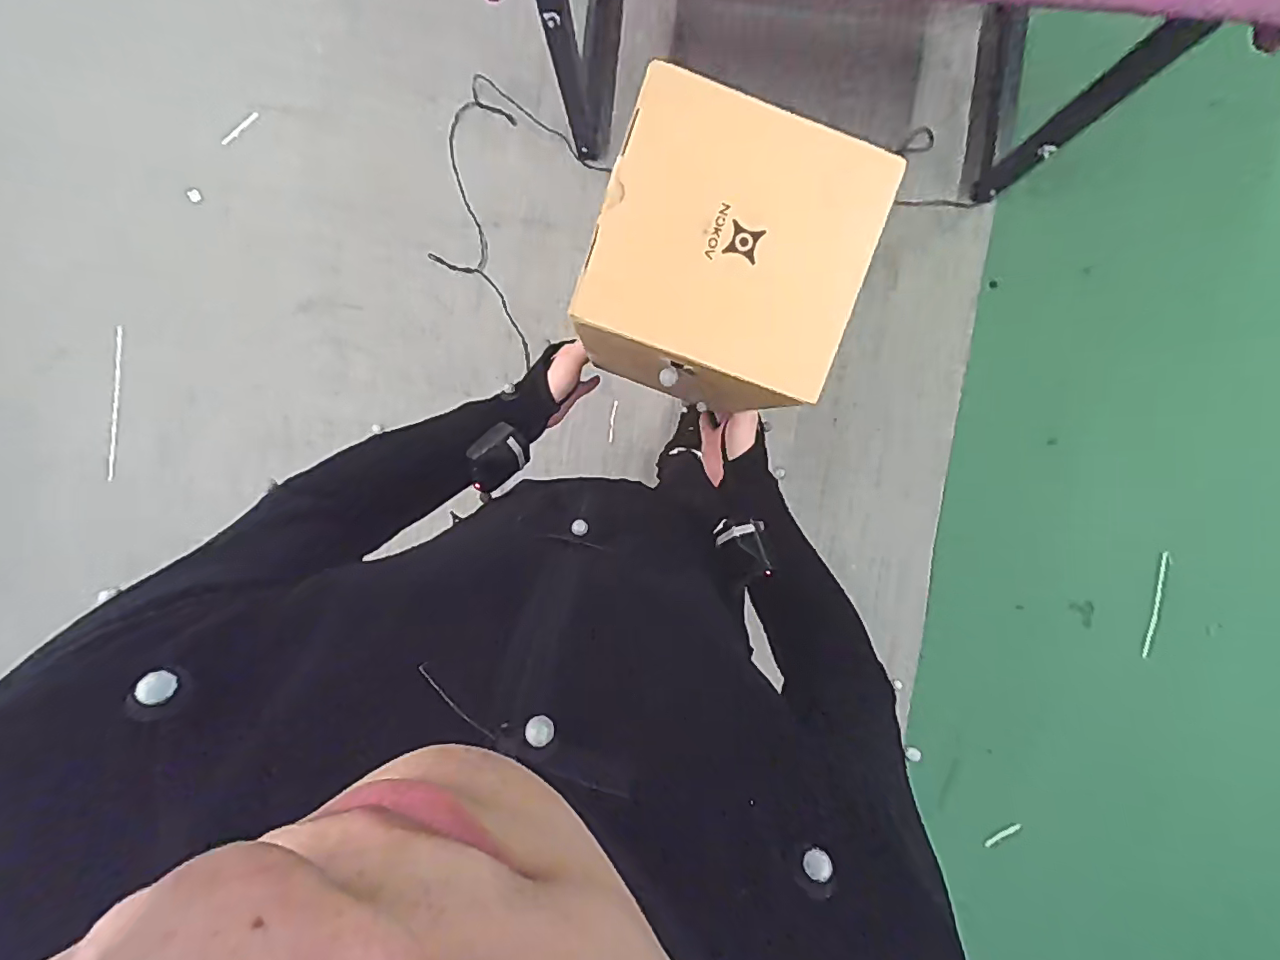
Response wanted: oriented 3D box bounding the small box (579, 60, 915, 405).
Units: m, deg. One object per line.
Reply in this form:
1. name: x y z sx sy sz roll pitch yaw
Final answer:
1. small box: 0.066 -0.165 0.424 0.179 0.176 0.168 19 96 -4

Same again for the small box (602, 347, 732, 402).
1. small box: 0.059 -0.214 0.747 0.179 0.176 0.168 21 95 -3
